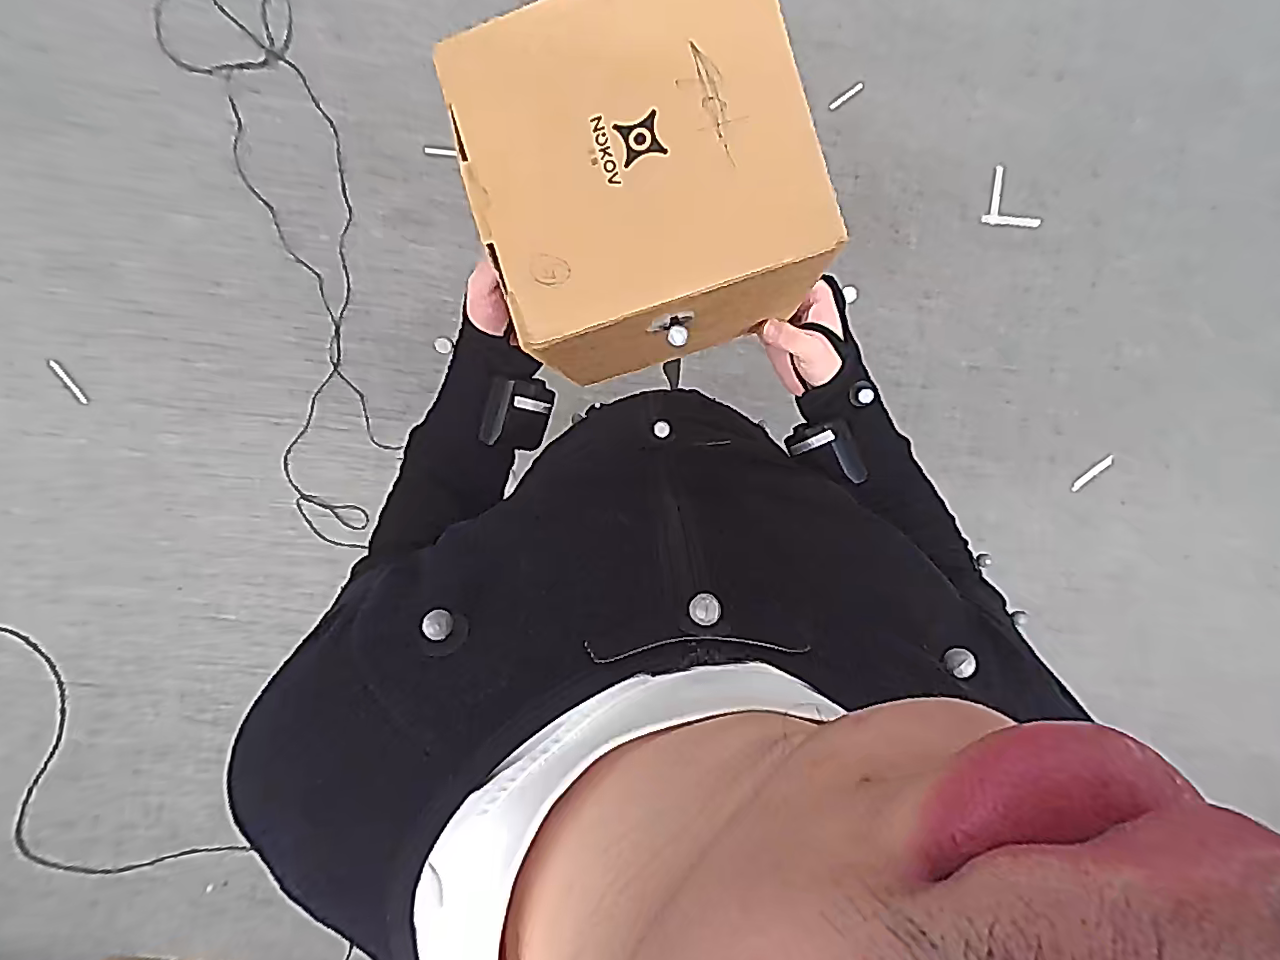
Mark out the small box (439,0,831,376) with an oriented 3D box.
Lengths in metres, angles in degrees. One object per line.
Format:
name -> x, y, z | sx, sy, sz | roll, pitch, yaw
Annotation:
small box -> 0.002, -0.179, 0.365 | 0.179, 0.176, 0.168 | -18, 92, 5
